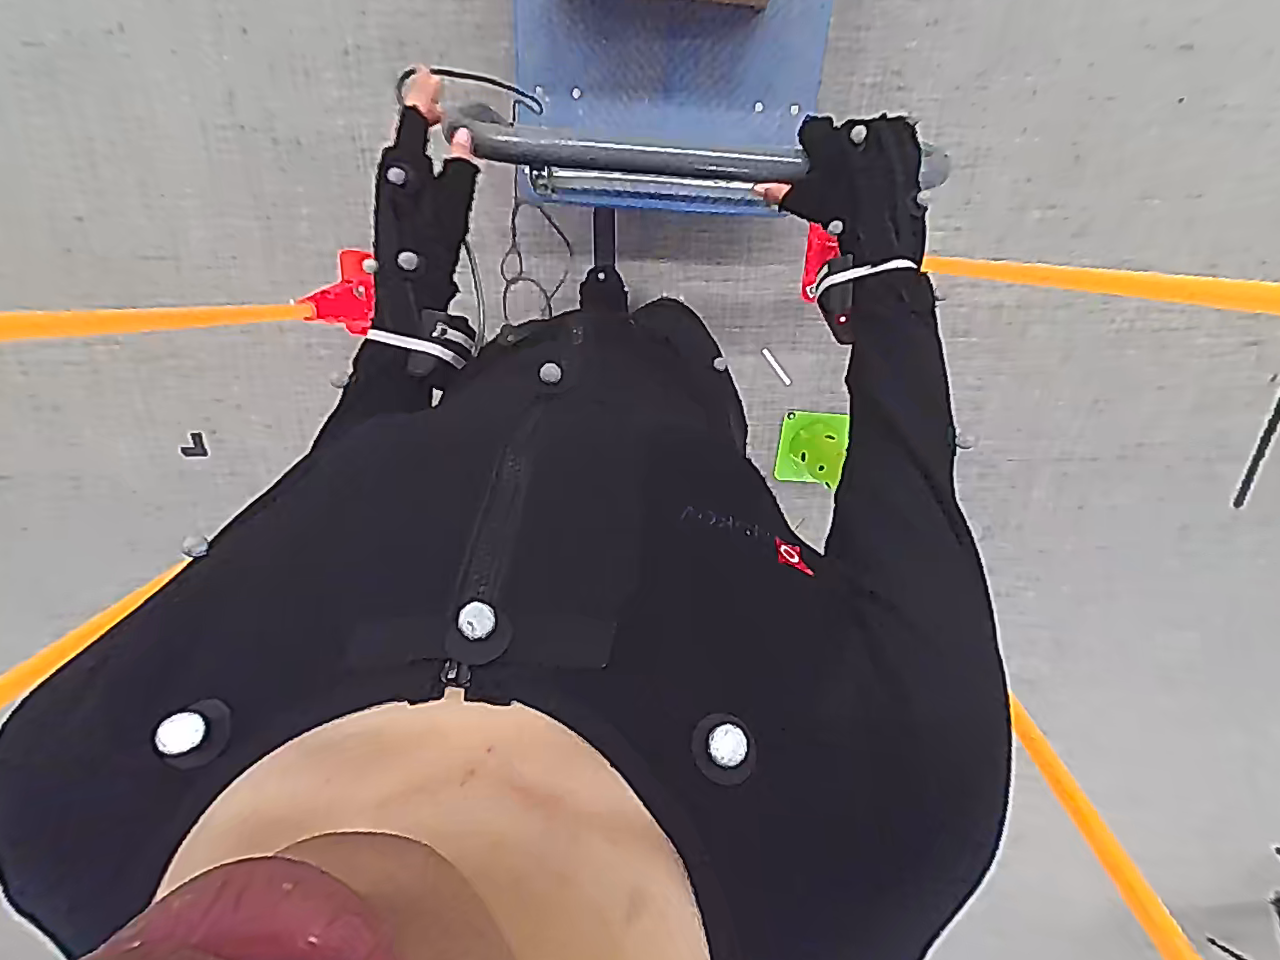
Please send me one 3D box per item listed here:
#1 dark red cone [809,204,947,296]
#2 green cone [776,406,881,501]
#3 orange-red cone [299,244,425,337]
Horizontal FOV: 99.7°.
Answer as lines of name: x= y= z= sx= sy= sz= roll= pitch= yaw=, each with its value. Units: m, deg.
dark red cone: x=0.510 y=-0.477 z=1.127 sx=0.201 sy=0.394 sz=0.202 roll=-1 pitch=113 yaw=-3
green cone: x=0.489 y=-0.036 z=1.330 sx=0.202 sy=0.368 sz=0.200 roll=3 pitch=113 yaw=-3
orange-red cone: x=-0.621 y=-0.397 z=1.163 sx=0.198 sy=0.360 sz=0.199 roll=6 pitch=111 yaw=-5
